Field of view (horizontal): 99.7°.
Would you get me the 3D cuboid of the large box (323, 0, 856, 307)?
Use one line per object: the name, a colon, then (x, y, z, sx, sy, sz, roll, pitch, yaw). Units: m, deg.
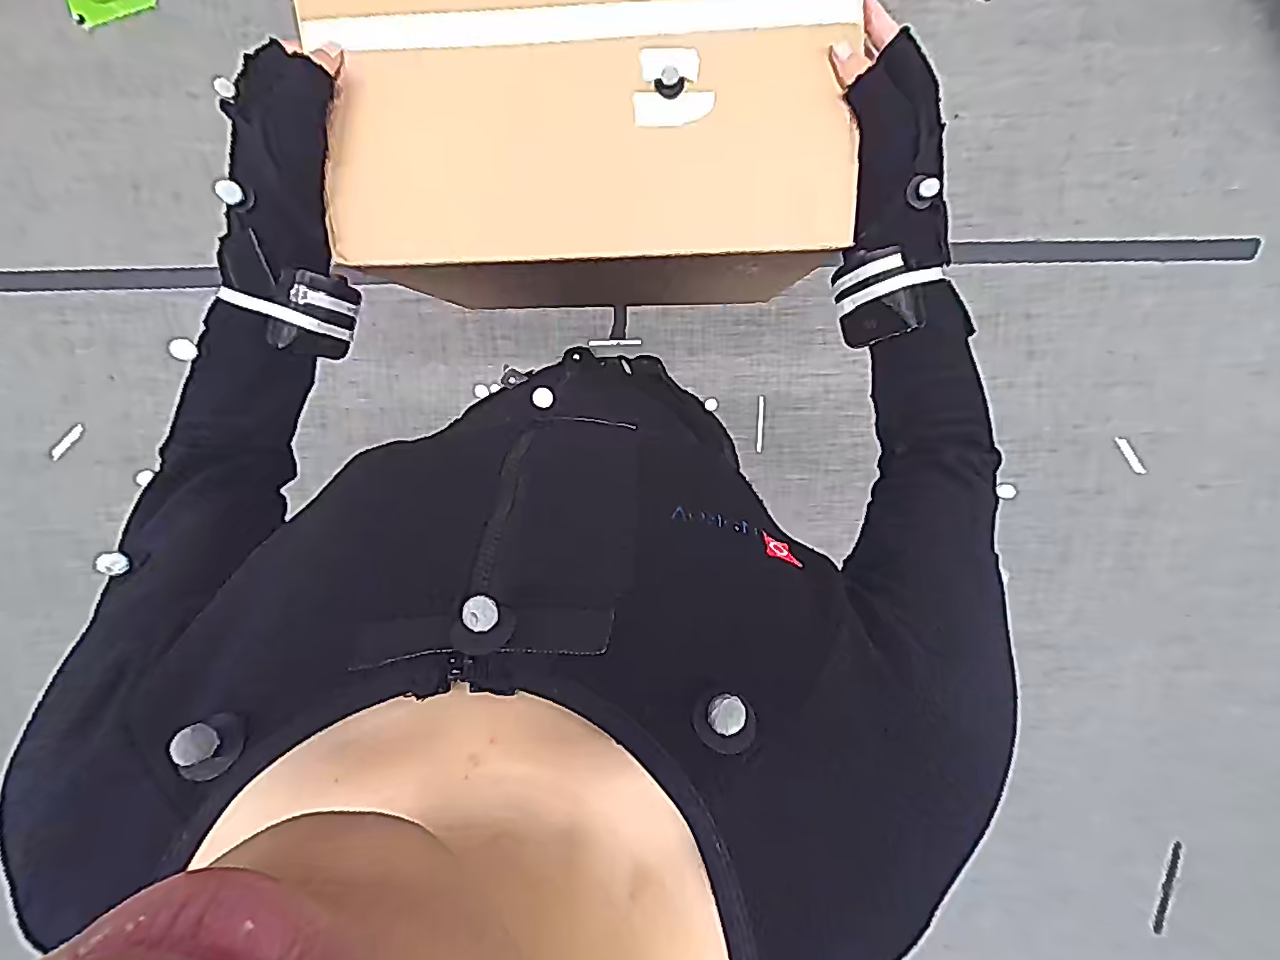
large box: (-0.037, -0.363, 0.550, 0.408, 0.320, 0.320, -1, 101, 2)
